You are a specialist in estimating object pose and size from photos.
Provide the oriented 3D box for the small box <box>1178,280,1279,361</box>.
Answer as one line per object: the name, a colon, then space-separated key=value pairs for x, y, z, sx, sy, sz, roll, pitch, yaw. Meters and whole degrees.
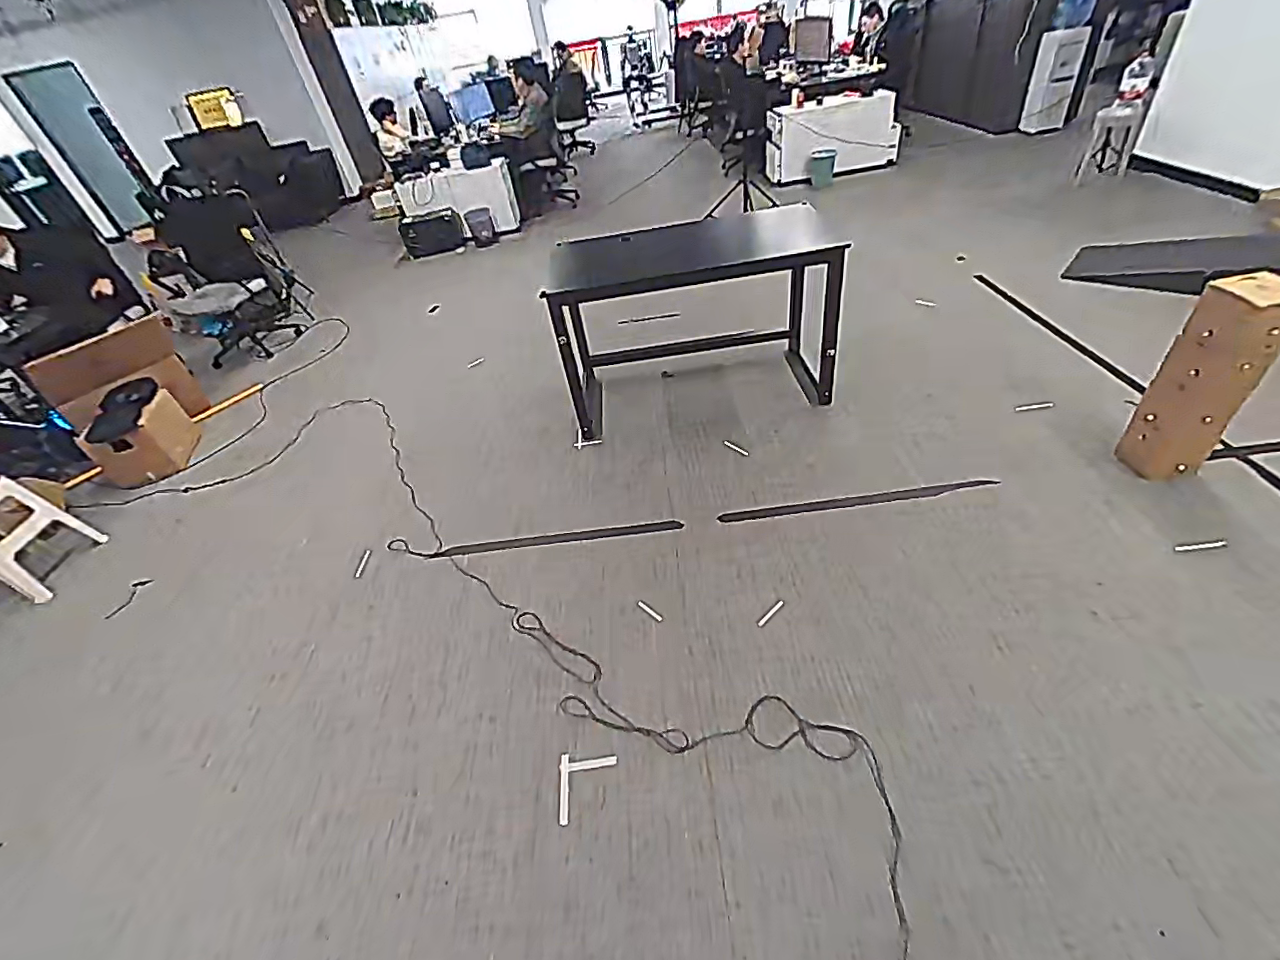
small box: x=1.785 y=-0.466 z=1.607 sx=0.168 sy=0.176 sz=0.179 roll=-9 pitch=42 yaw=3

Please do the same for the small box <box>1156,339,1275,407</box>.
small box: x=1.806 y=-0.346 z=1.716 sx=0.179 sy=0.176 sz=0.168 roll=-8 pitch=42 yaw=3

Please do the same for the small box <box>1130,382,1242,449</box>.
small box: x=1.828 y=-0.226 z=1.824 sx=0.179 sy=0.176 sz=0.168 roll=-9 pitch=41 yaw=4

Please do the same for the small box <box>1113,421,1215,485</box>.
small box: x=1.858 y=-0.107 z=1.932 sx=0.168 sy=0.176 sz=0.179 roll=-8 pitch=41 yaw=4
